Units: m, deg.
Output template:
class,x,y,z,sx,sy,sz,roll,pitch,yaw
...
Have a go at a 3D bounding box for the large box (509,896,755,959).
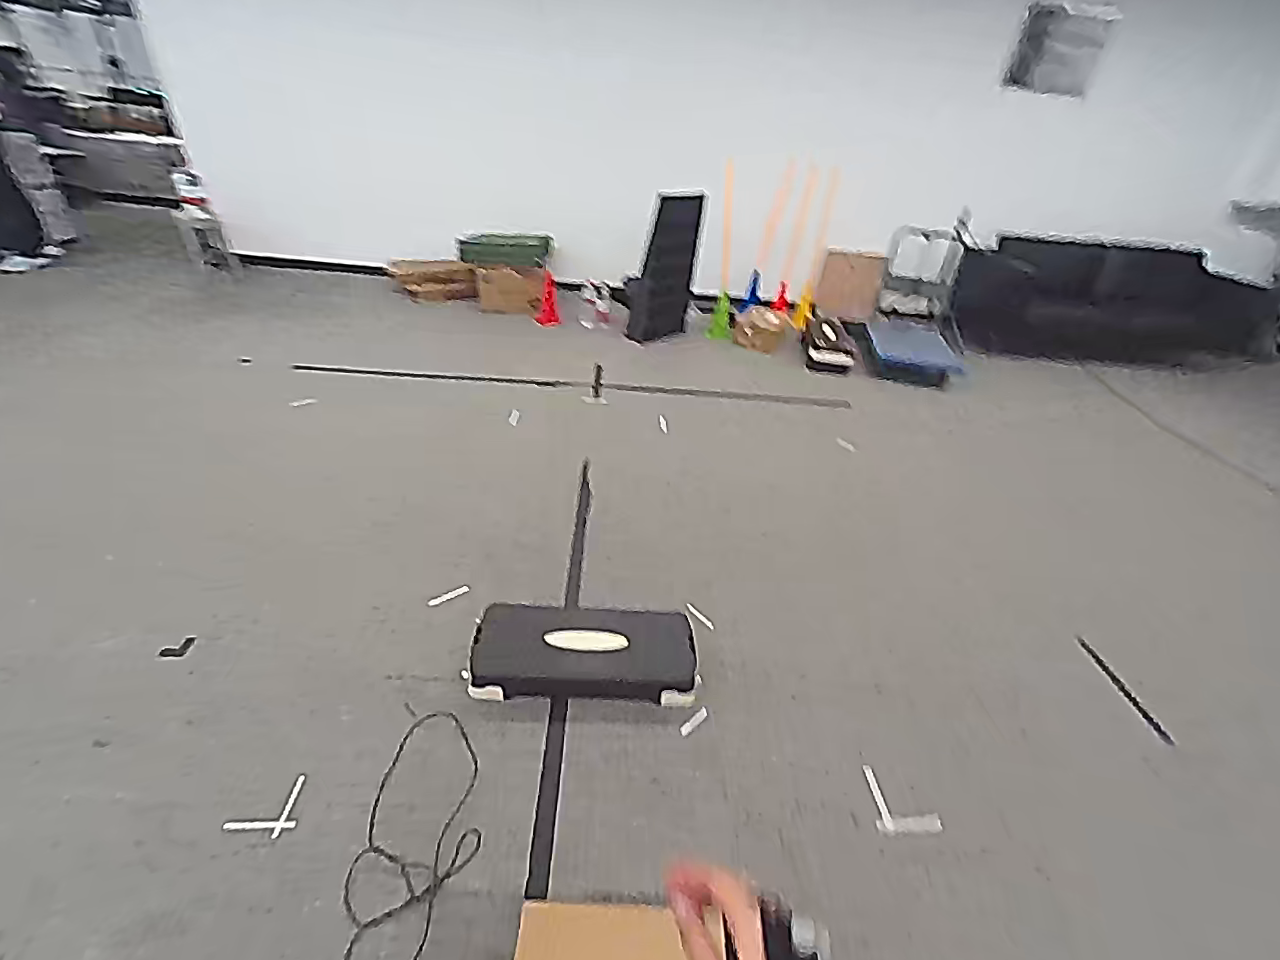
class,x,y,z,sx,sy,sz,roll,pitch,yaw
large box,-0.025,0.932,0.887,0.408,0.320,0.320,6,35,-4
